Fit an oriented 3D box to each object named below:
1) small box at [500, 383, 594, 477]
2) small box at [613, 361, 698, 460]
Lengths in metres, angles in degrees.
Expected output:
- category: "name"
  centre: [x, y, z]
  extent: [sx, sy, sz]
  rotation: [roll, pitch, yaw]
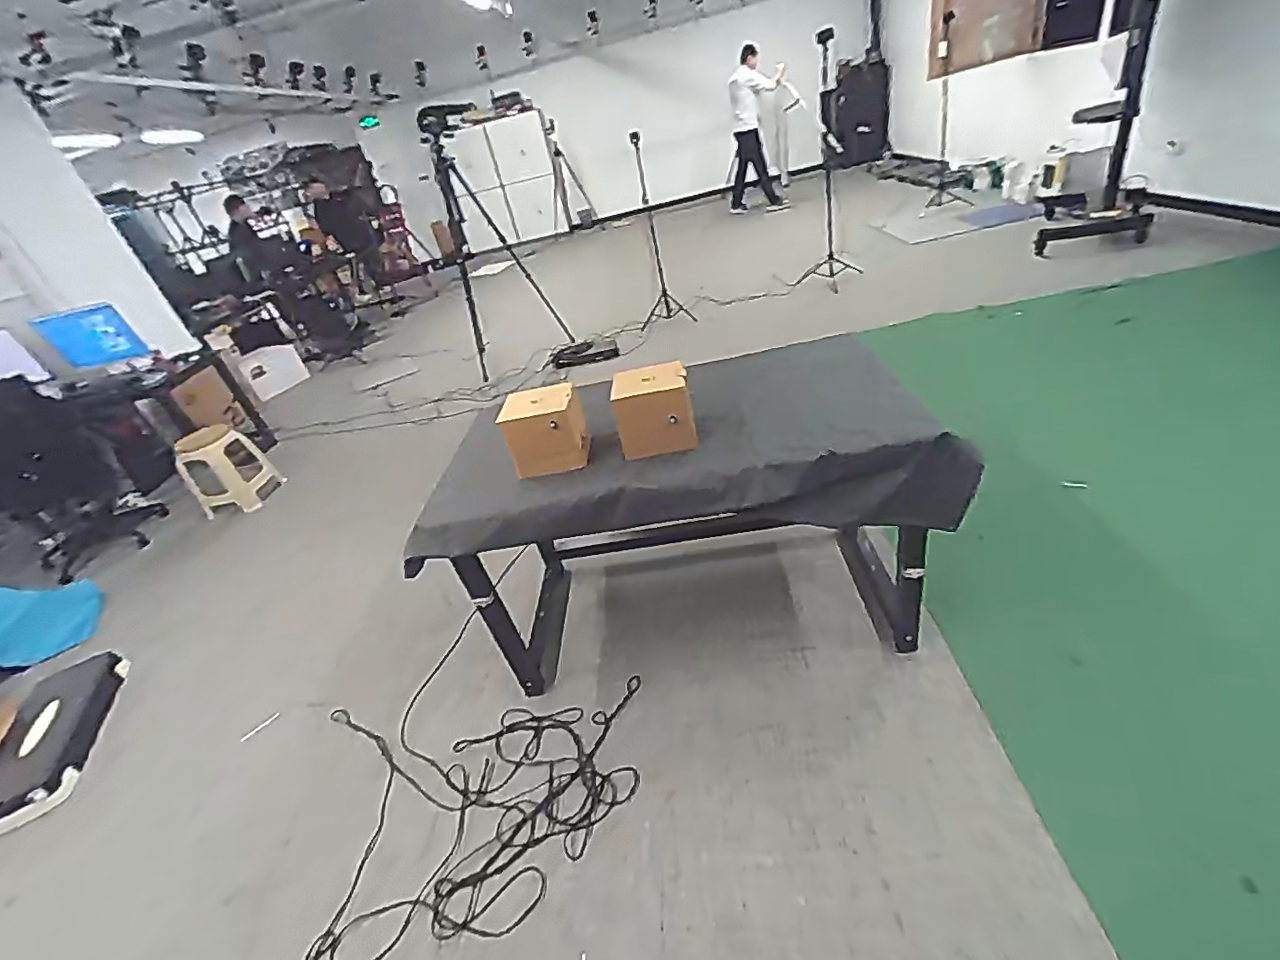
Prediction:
- category: "small box"
  centre: [-0.230, -0.123, 1.374]
  extent: [0.179, 0.176, 0.168]
  rotation: [-10, 33, 7]
- category: "small box"
  centre: [0.044, -0.169, 1.330]
  extent: [0.179, 0.176, 0.168]
  rotation: [-11, 31, 9]
